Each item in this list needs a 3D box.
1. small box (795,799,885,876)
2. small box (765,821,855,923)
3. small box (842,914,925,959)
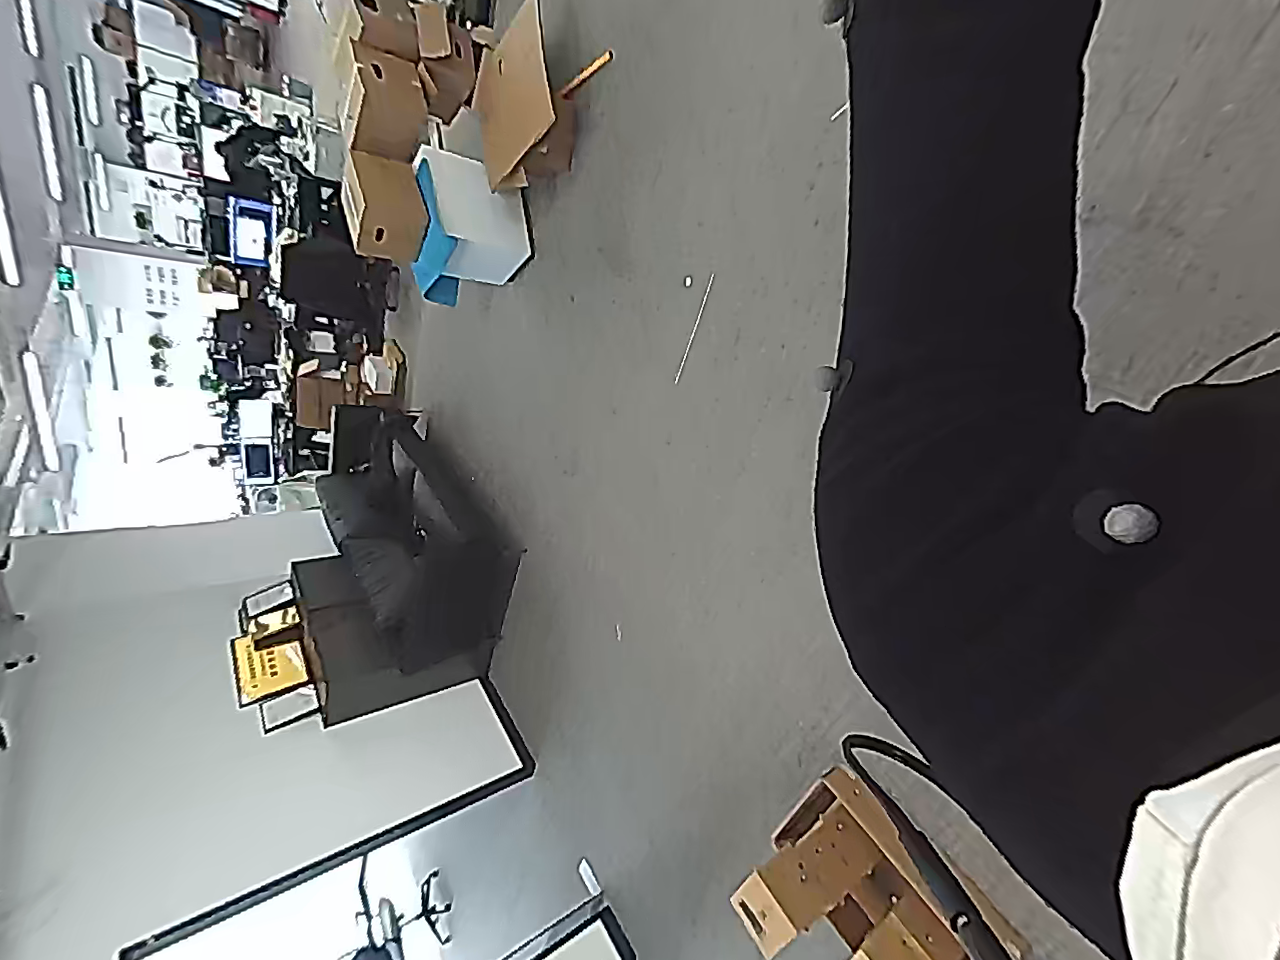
[{"bbox_3d":[0.647,1.172,1.751,0.179,0.176,0.168,48,128,35],"label":"small box"},{"bbox_3d":[0.524,1.187,1.647,0.168,0.176,0.179,50,129,36],"label":"small box"},{"bbox_3d":[0.670,1.355,1.488,0.168,0.176,0.179,42,124,41],"label":"small box"}]
